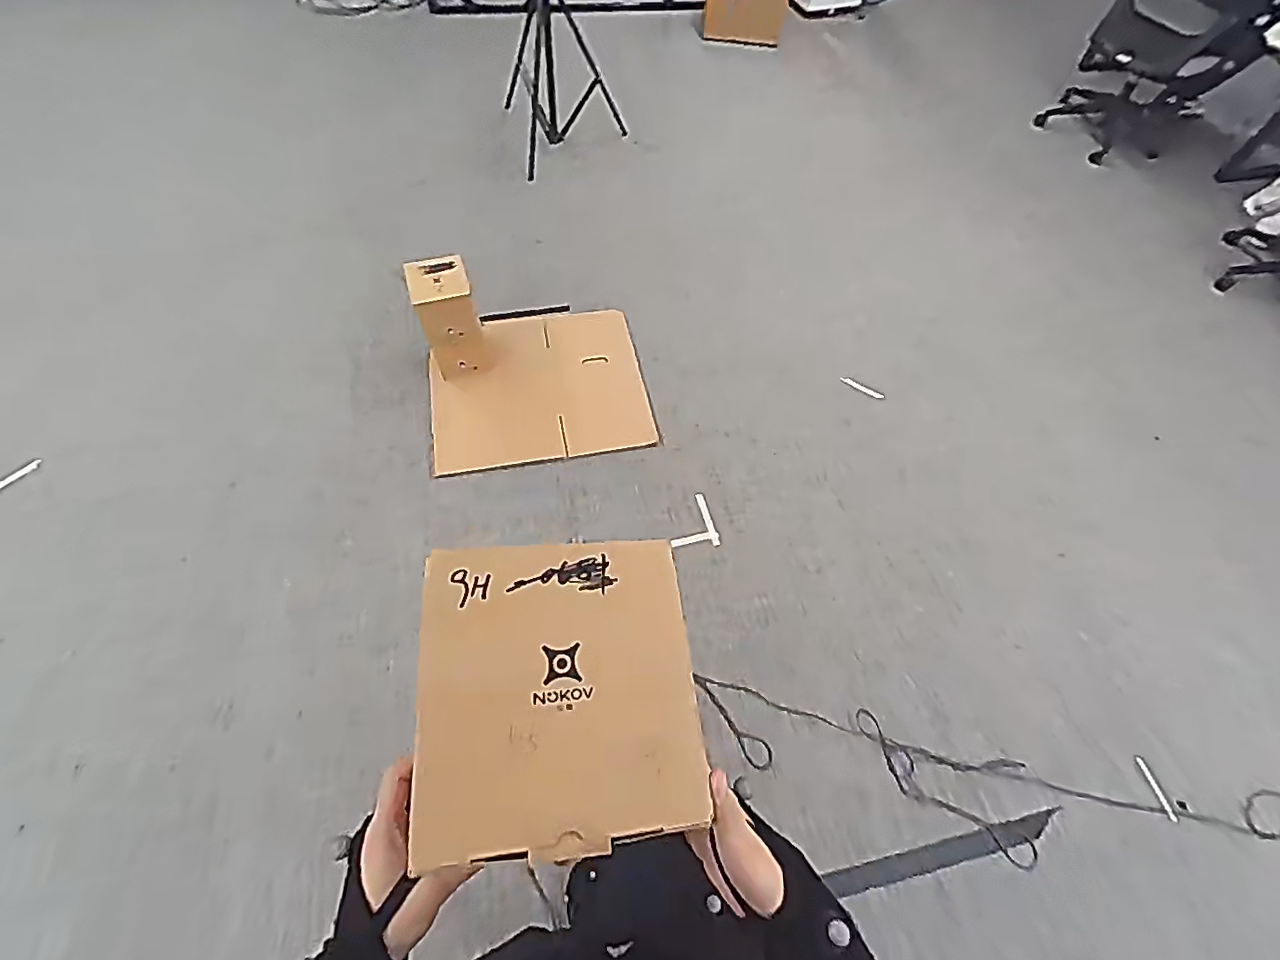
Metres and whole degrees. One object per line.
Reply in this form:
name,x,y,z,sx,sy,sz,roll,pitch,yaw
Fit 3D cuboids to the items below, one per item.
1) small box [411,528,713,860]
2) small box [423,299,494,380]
small box,-0.062,0.149,0.396,0.168,0.176,0.179,-1,62,-14
small box,-0.593,-0.460,1.776,0.168,0.176,0.179,-18,63,-13
